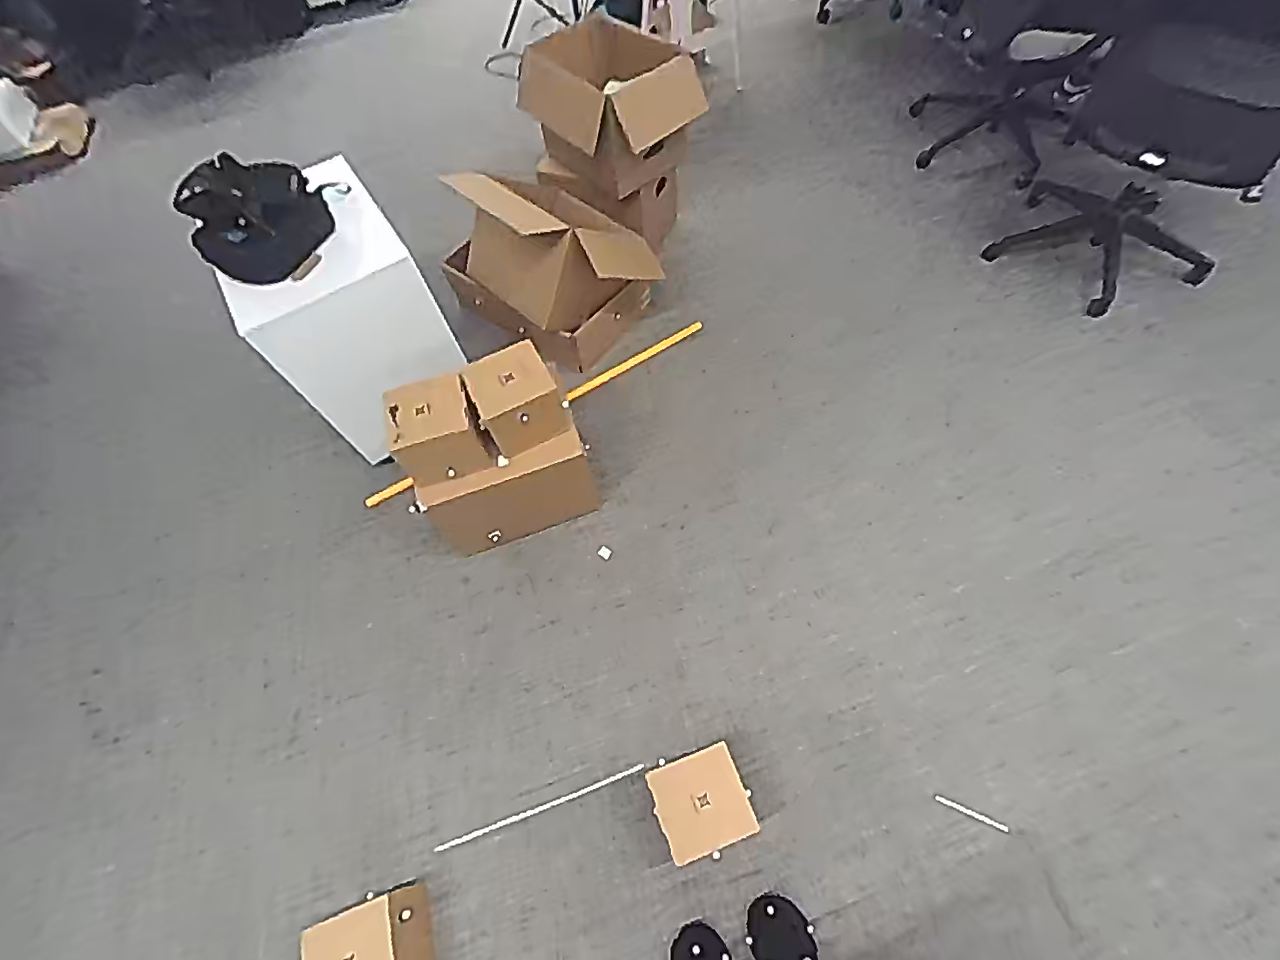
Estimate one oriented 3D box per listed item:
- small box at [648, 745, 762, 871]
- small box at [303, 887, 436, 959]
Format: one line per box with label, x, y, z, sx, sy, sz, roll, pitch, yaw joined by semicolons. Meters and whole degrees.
small box;0.127;0.659;1.104;0.179;0.176;0.168;-21;62;-5
small box;-0.507;0.908;1.028;0.168;0.176;0.179;-21;61;-6
